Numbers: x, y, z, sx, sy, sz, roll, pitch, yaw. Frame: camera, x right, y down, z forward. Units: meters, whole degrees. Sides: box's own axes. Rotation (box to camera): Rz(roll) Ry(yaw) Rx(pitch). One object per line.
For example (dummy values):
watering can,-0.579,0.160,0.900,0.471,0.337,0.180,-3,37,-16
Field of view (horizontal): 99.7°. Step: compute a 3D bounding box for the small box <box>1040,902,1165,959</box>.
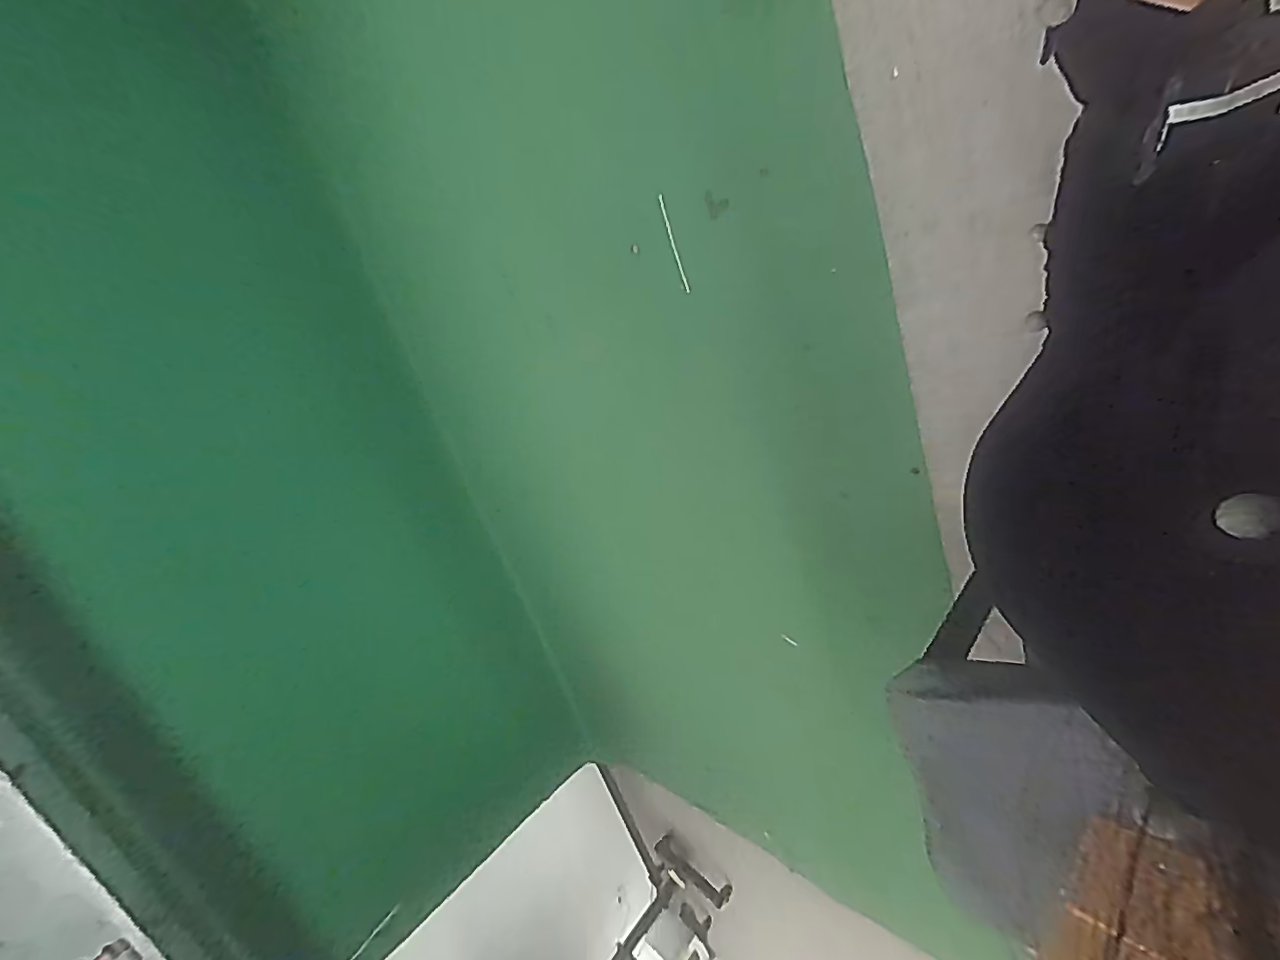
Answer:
small box,0.609,0.702,0.685,0.179,0.176,0.168,13,125,45
